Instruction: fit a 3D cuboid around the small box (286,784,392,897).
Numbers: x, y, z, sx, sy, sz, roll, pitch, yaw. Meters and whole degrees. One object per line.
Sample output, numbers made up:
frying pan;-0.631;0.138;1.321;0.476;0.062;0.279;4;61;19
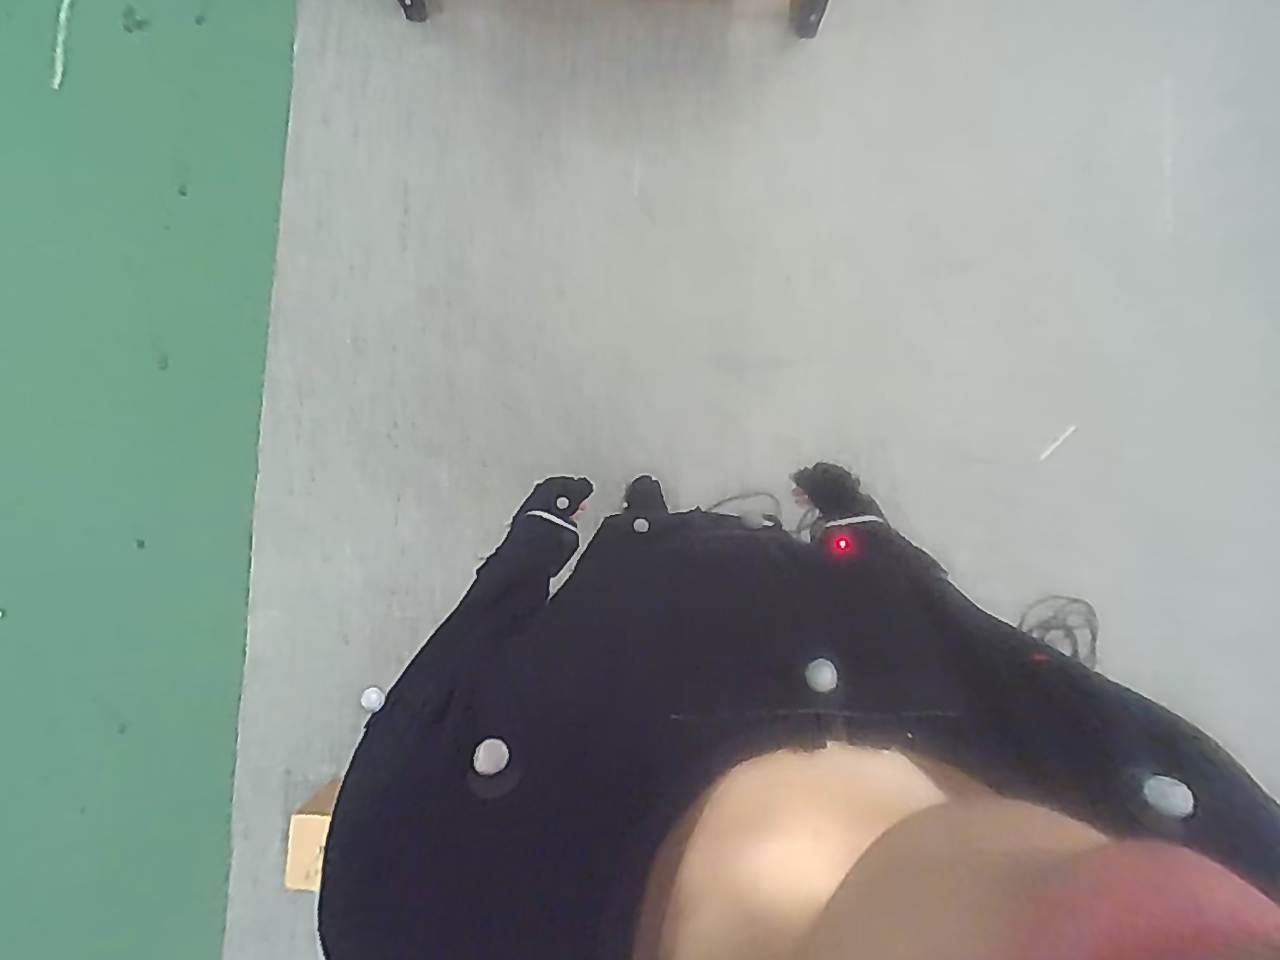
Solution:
small box;-0.741;0.889;1.349;0.168;0.176;0.179;3;87;1
